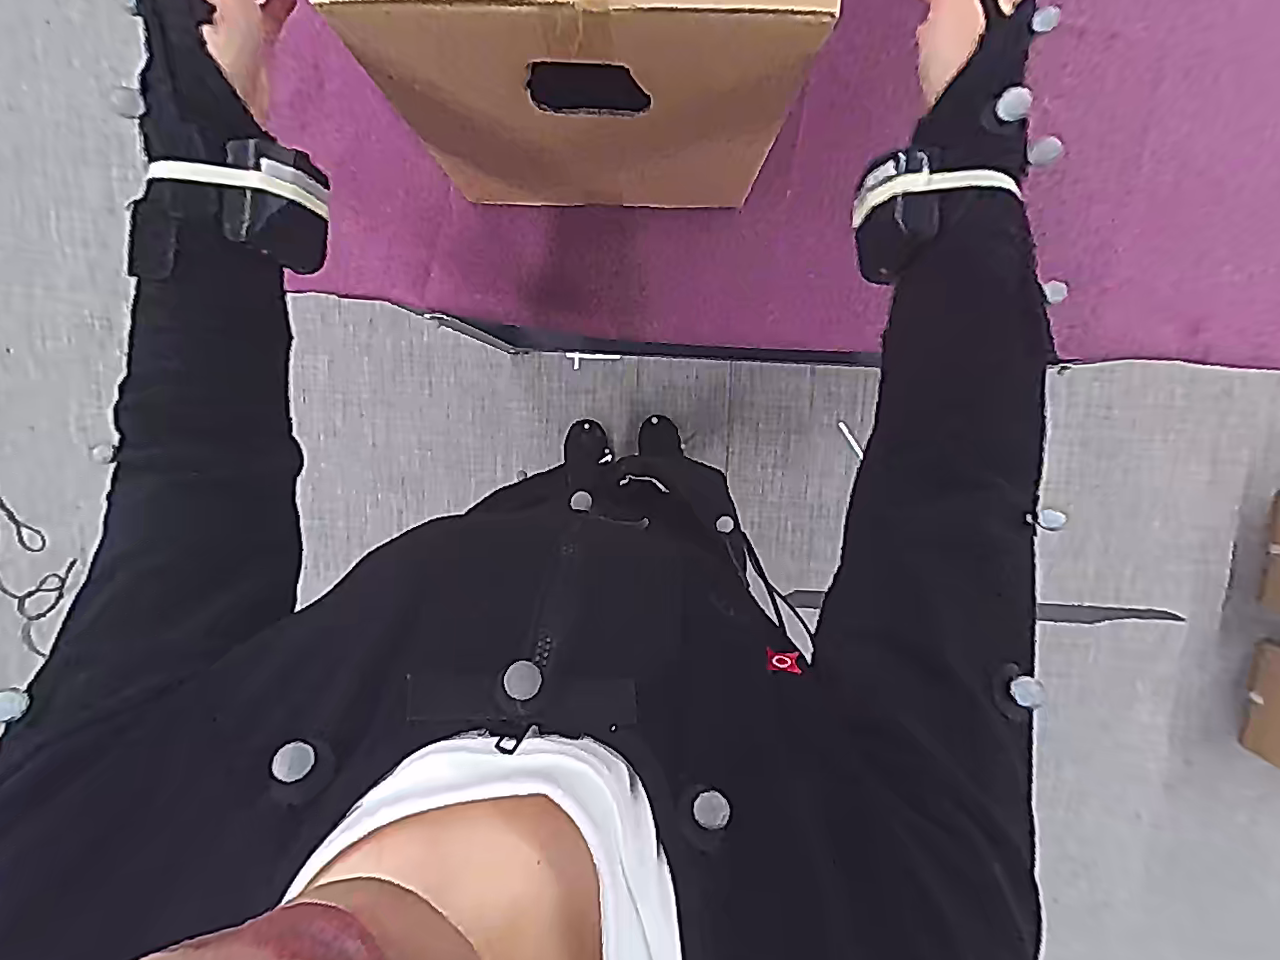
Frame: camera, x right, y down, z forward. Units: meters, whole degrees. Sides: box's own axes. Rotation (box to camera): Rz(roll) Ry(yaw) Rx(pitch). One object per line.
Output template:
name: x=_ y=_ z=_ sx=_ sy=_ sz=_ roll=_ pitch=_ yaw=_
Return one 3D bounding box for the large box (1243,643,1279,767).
large box: x=1.831 y=0.600 z=1.295 sx=0.408 sy=0.320 sz=0.320 roll=1 pitch=97 yaw=1
